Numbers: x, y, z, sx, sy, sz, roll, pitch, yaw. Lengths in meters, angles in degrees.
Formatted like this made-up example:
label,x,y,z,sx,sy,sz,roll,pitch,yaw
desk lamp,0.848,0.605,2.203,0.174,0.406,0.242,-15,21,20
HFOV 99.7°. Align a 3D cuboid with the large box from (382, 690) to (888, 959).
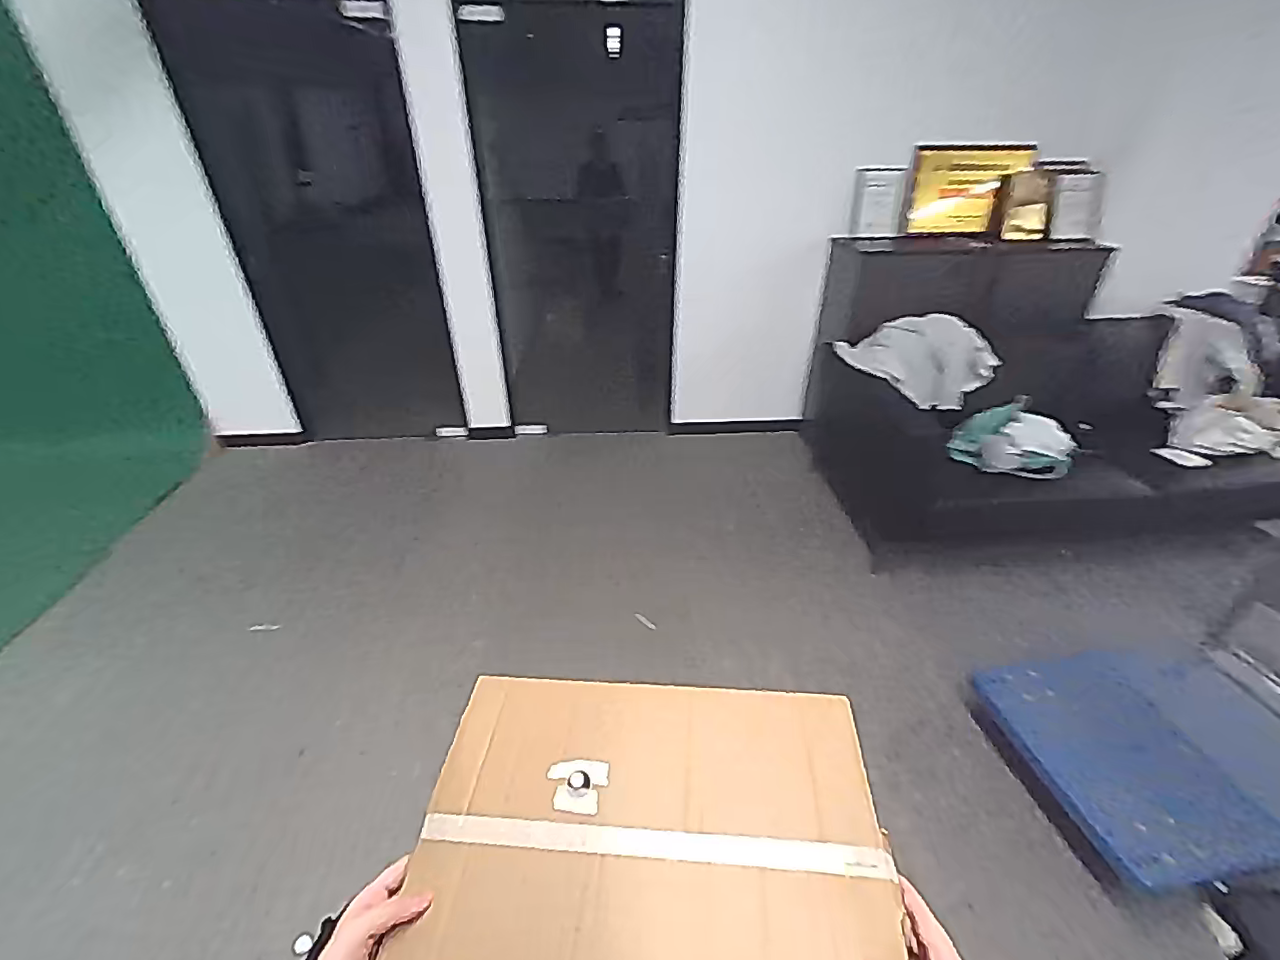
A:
label,x,y,z,sx,sy,sz,roll,pitch,yaw
large box,0.009,0.445,0.570,0.408,0.320,0.320,-1,37,6
